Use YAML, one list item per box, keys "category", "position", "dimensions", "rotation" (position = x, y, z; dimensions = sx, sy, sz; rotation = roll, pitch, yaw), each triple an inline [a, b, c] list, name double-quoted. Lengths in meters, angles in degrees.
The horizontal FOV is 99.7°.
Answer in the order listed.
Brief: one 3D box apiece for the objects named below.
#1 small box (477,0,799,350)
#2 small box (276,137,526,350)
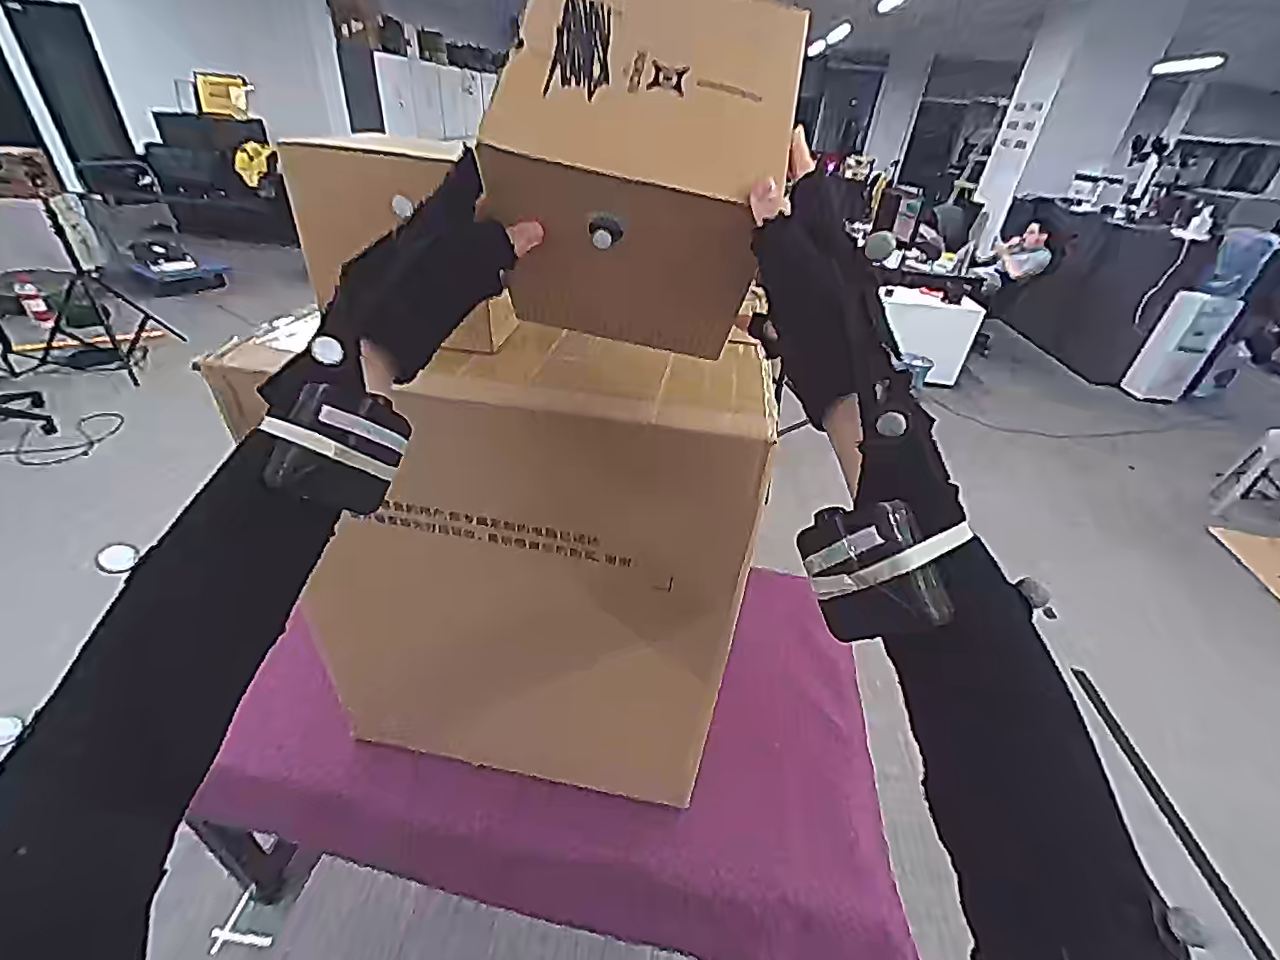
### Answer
- category: "small box"
  position: [0.000, -0.219, 0.406]
  dimensions: [0.179, 0.176, 0.168]
  rotation: [11, 71, -1]
- category: "small box"
  position: [-0.218, -0.244, 0.558]
  dimensions: [0.179, 0.176, 0.168]
  rotation: [6, 34, 2]
